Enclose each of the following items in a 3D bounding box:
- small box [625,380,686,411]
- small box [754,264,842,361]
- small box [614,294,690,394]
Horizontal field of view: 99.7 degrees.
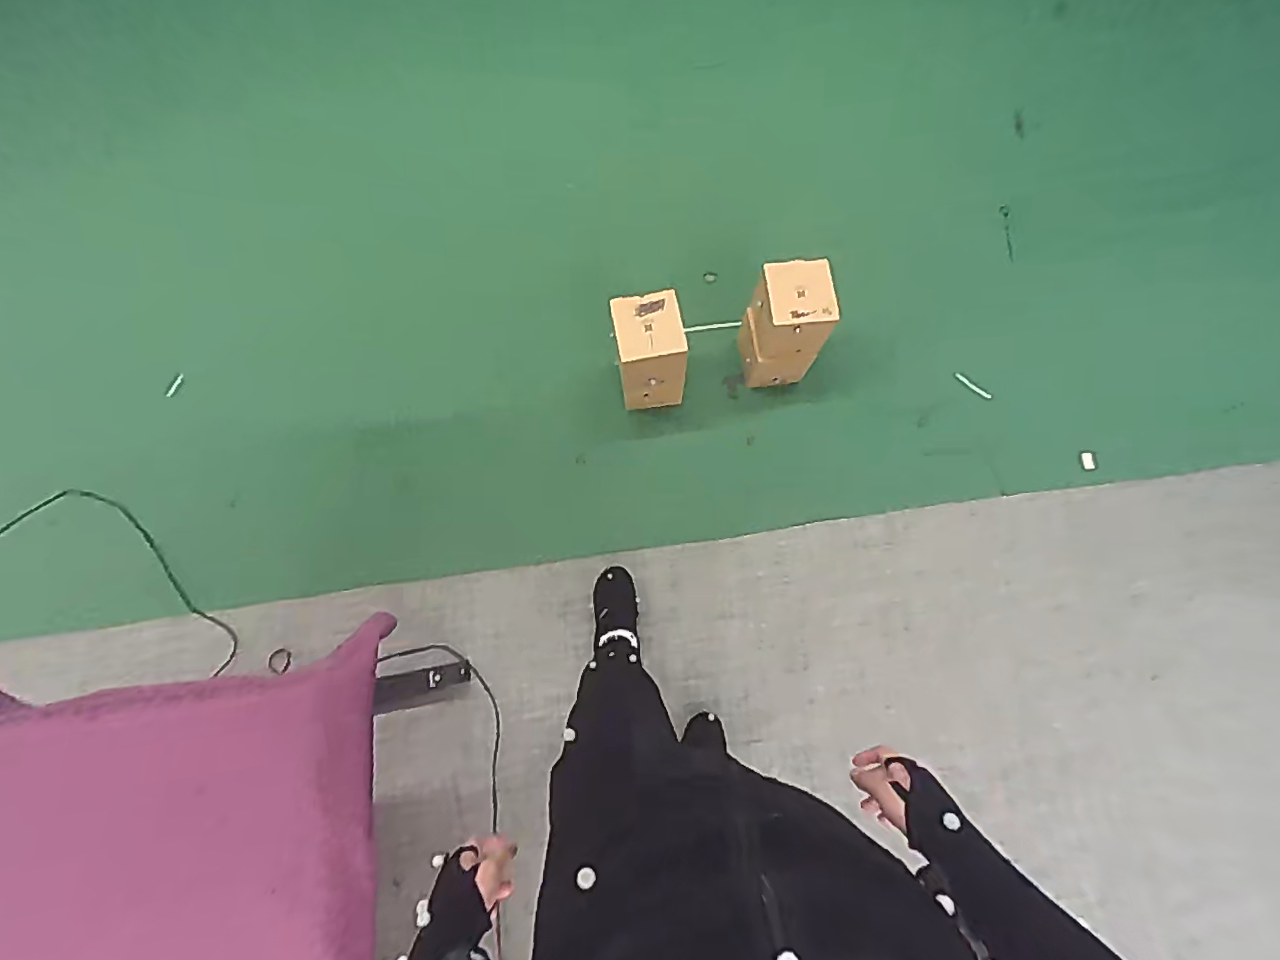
[{"bbox_3d":[0.037,-0.307,1.549,0.168,0.176,0.179,-7,74,-1],"label":"small box"},{"bbox_3d":[0.402,-0.432,1.408,0.168,0.176,0.179,-4,74,-1],"label":"small box"},{"bbox_3d":[0.028,-0.344,1.388,0.168,0.176,0.179,-10,76,-2],"label":"small box"}]
